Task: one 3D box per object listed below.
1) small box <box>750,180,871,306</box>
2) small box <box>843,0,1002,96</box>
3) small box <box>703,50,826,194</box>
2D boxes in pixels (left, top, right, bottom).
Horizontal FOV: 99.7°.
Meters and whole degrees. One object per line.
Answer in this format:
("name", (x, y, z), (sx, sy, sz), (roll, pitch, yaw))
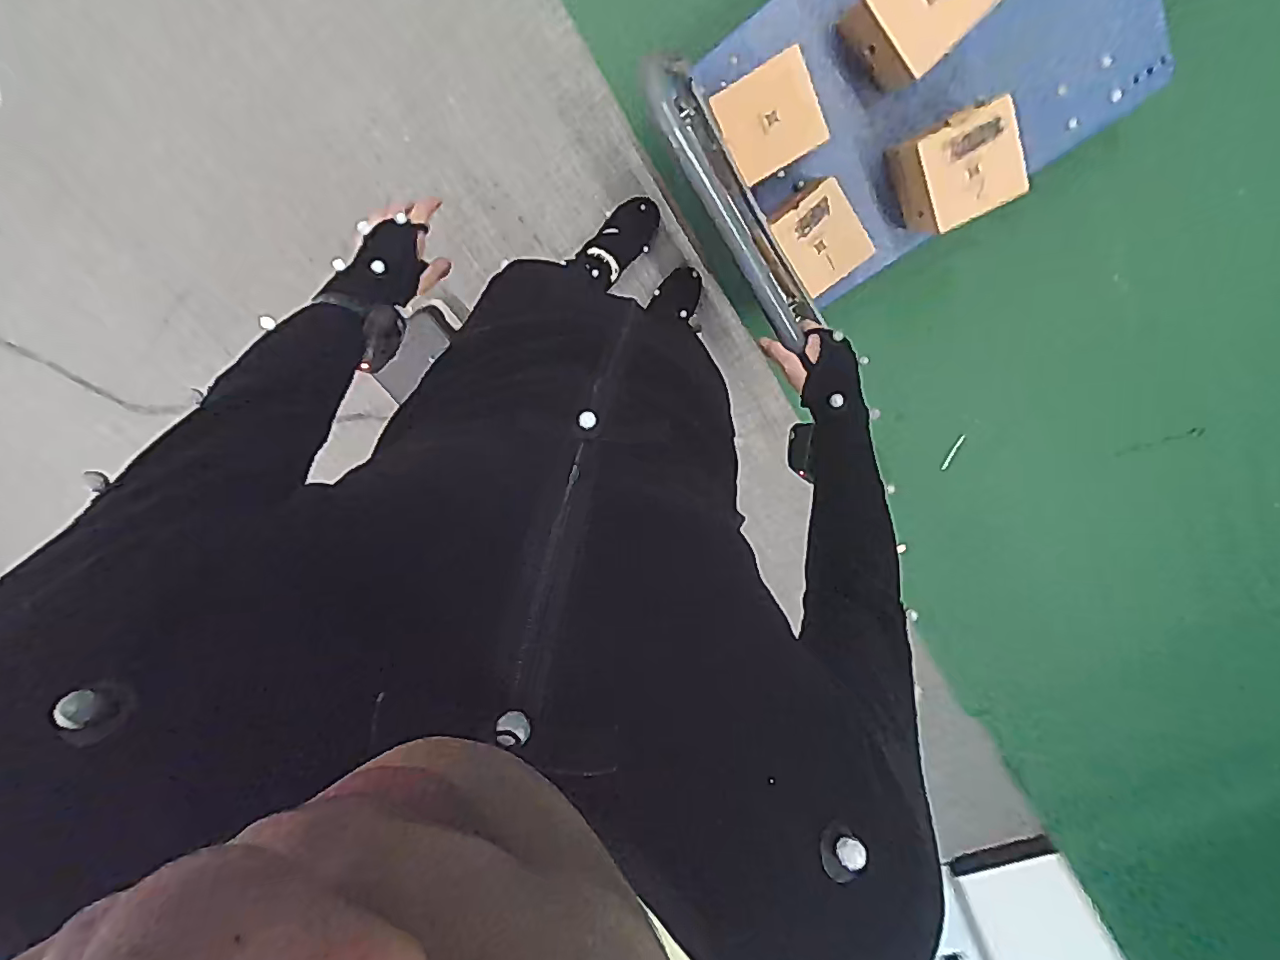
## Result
("small box", (0.350, -0.501, 1.144), (0.168, 0.176, 0.179), (-34, 112, 19))
("small box", (0.487, -0.832, 0.965), (0.179, 0.176, 0.168), (-40, 110, 21))
("small box", (0.234, -0.687, 1.056), (0.179, 0.176, 0.168), (-24, 114, 16))
